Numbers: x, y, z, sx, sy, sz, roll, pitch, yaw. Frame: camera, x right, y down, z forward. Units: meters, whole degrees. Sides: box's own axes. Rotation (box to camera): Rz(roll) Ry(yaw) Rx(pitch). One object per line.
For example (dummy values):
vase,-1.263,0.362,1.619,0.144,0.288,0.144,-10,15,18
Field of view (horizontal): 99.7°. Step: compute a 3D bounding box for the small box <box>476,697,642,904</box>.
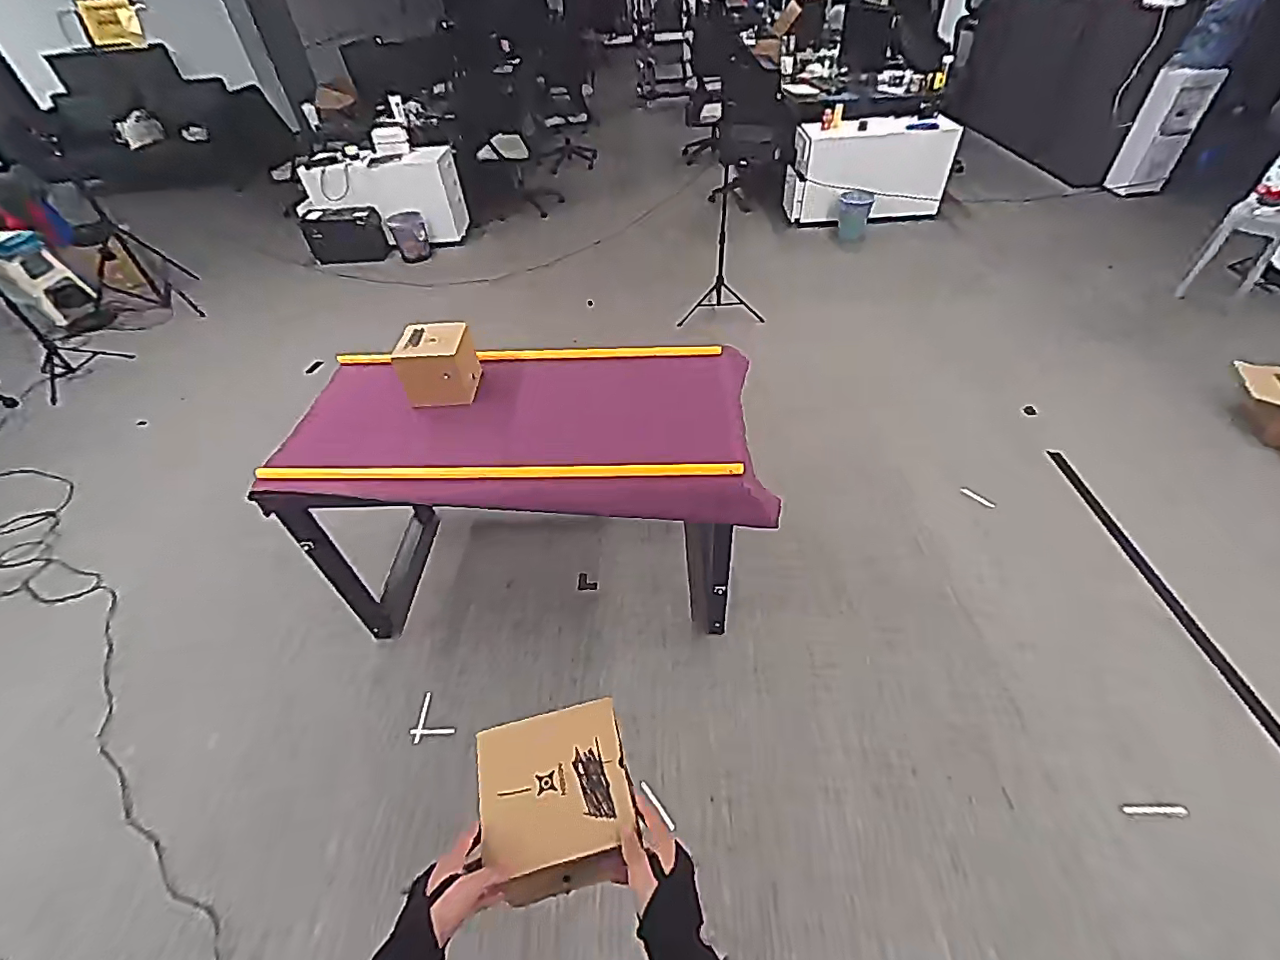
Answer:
small box,-0.097,0.405,0.684,0.179,0.176,0.168,-13,46,-7
